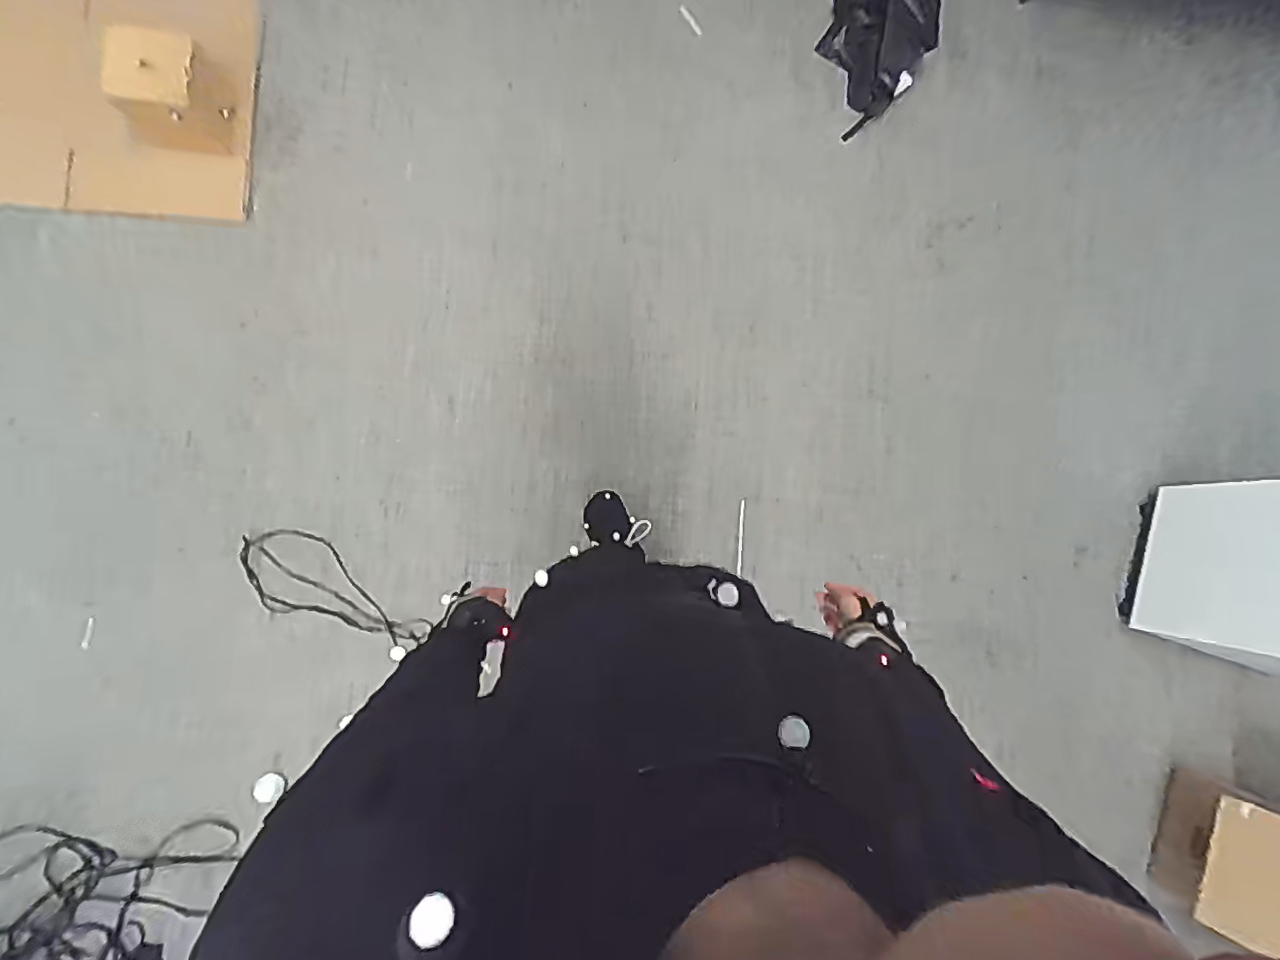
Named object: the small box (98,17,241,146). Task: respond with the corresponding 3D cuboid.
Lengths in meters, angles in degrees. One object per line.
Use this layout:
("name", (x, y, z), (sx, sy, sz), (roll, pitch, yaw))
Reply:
("small box", (-1.071, -0.905, 1.243), (0.179, 0.176, 0.168), (4, 85, -6))
